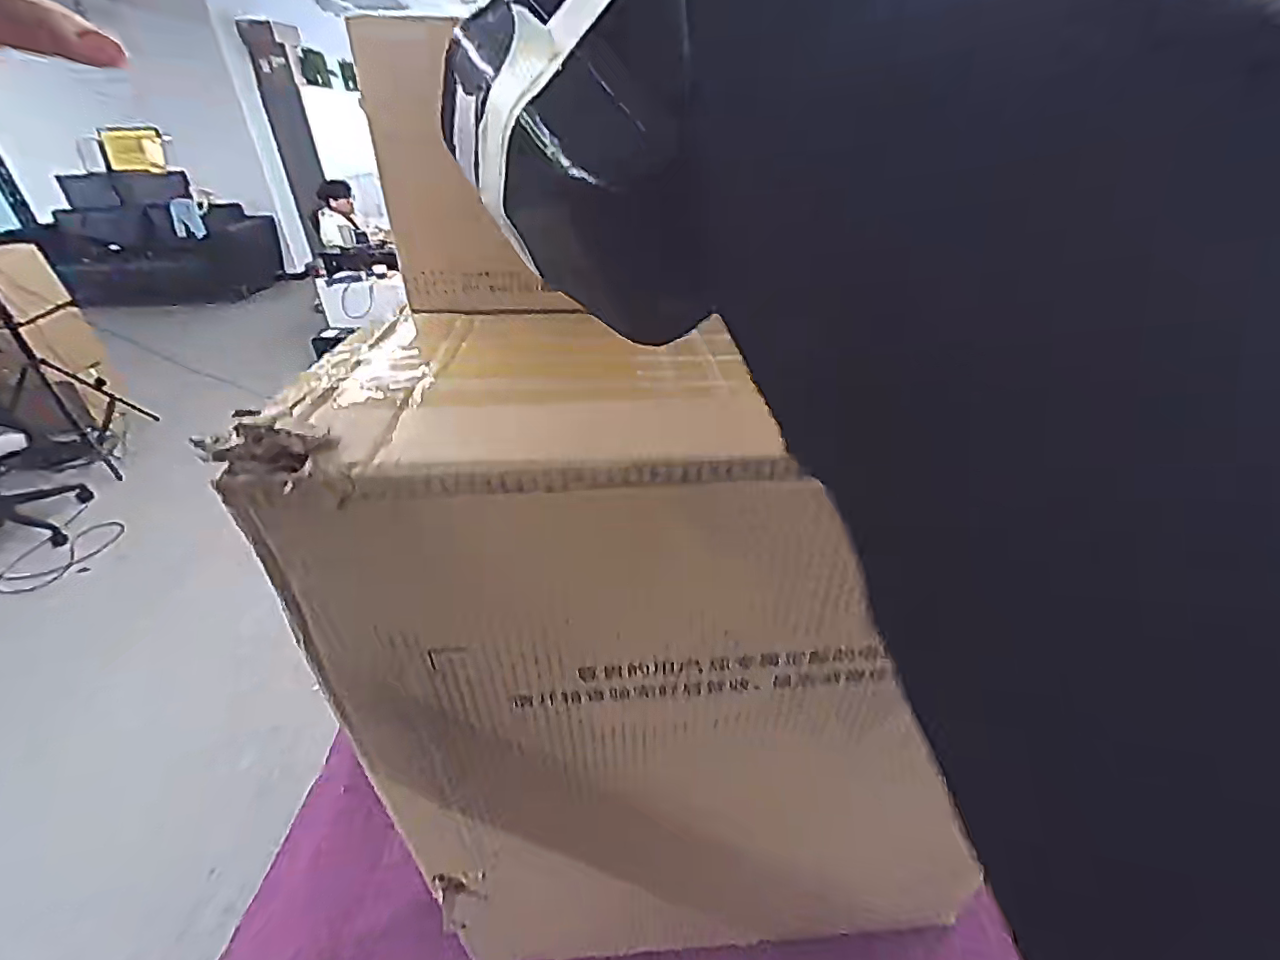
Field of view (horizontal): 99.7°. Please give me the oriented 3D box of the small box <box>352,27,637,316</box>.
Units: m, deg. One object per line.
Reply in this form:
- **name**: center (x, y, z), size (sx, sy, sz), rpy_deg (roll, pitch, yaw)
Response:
- **small box**: center (-0.087, -0.233, 0.421), size (0.168, 0.176, 0.179), rpy_deg (-1, 33, -3)
